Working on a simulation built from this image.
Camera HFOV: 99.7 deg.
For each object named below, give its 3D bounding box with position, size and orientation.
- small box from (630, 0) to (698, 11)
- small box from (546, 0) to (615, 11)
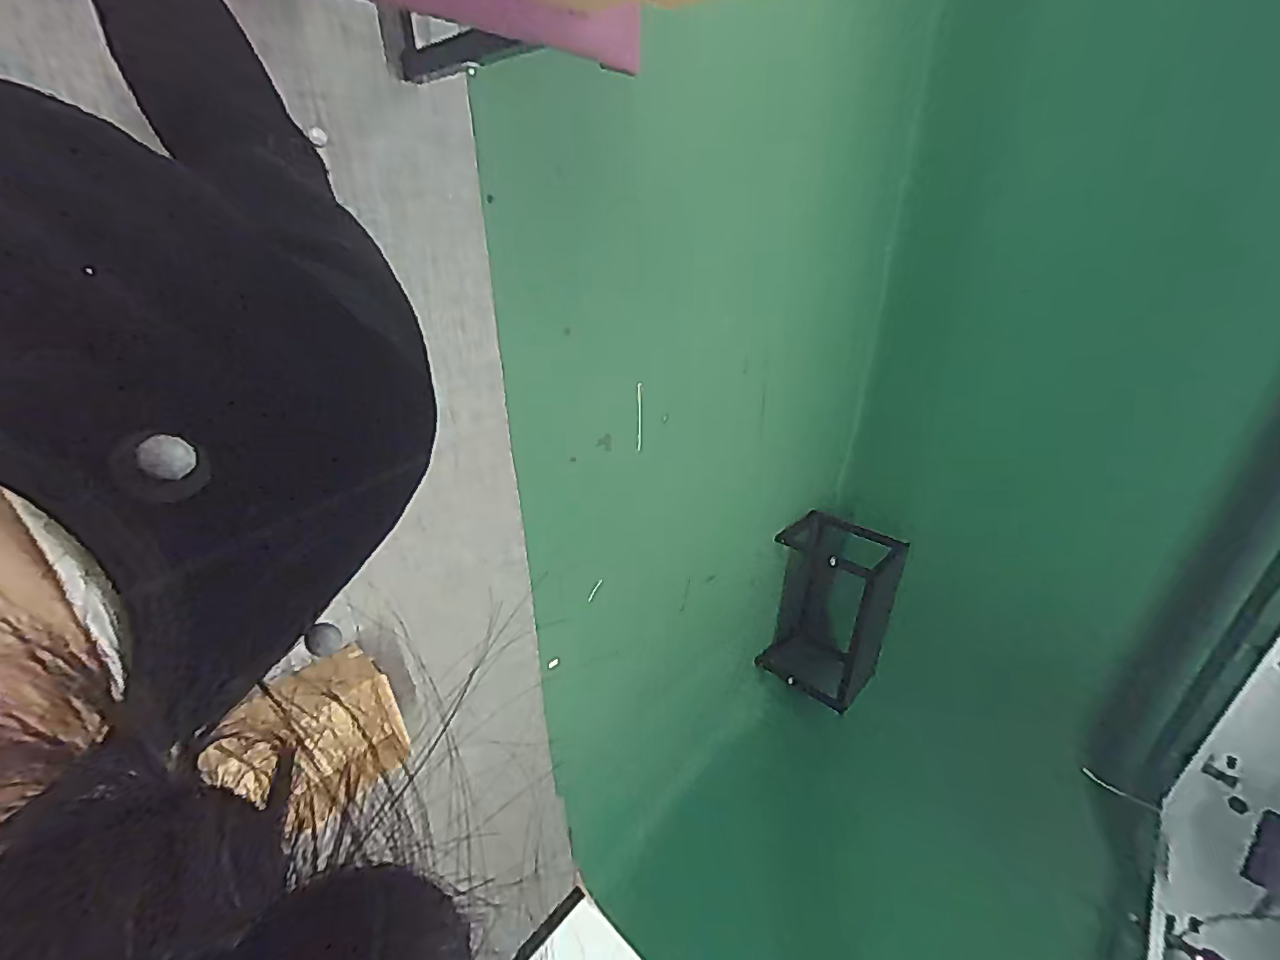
[{"bbox_3d":[0.035,-0.676,0.608,0.168,0.176,0.179,-24,125,-40],"label":"small box"},{"bbox_3d":[-0.082,-0.744,0.702,0.179,0.176,0.168,-27,128,-40],"label":"small box"}]
